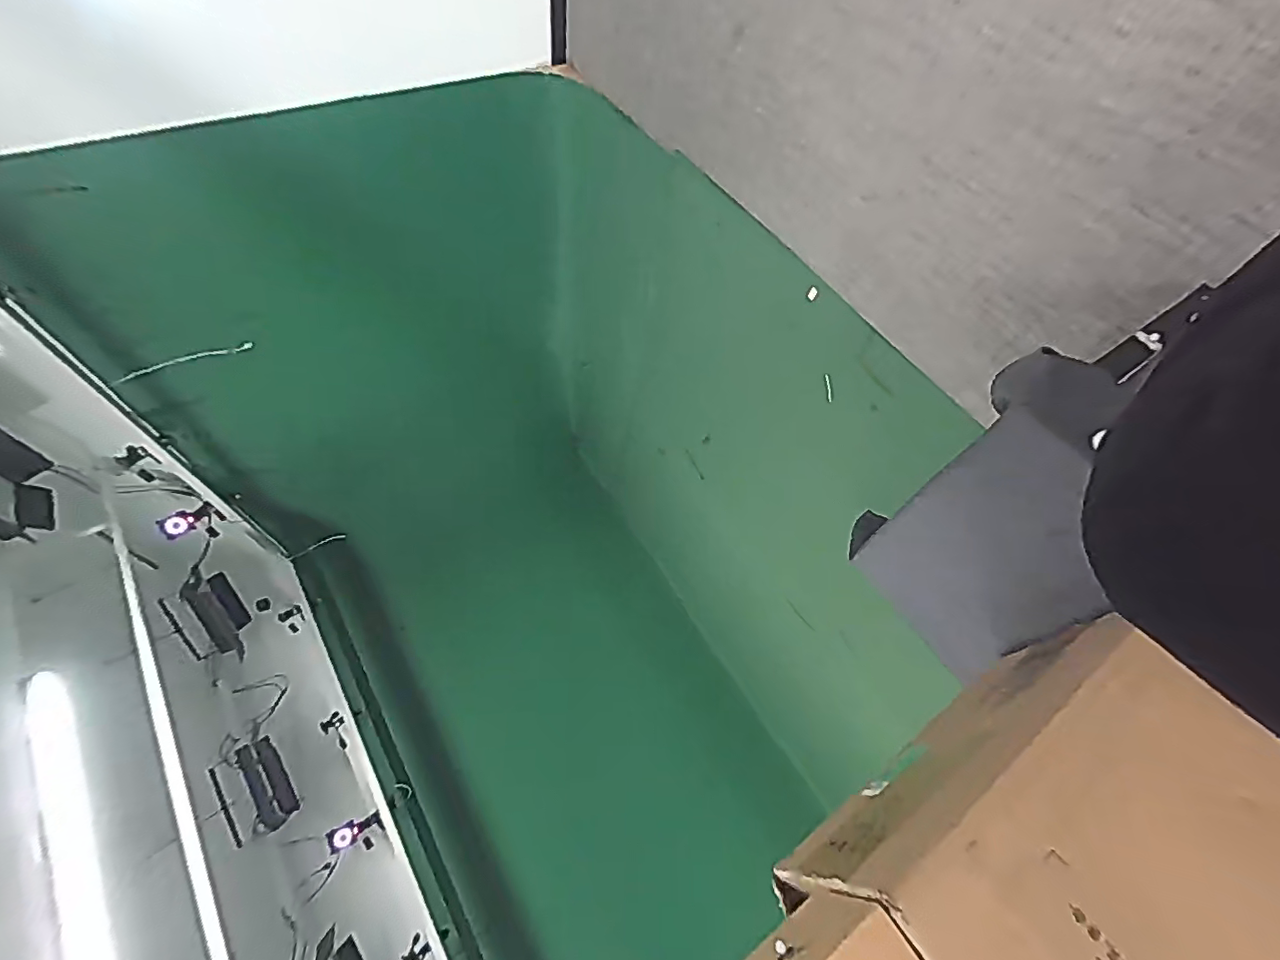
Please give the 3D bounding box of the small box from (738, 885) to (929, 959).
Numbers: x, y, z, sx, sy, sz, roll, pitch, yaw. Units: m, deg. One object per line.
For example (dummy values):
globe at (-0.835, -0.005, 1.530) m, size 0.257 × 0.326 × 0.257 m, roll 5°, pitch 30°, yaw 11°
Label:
small box at (0.215, 0.557, 0.554) m, size 0.168 × 0.176 × 0.179 m, roll 53°, pitch 155°, yaw 25°
